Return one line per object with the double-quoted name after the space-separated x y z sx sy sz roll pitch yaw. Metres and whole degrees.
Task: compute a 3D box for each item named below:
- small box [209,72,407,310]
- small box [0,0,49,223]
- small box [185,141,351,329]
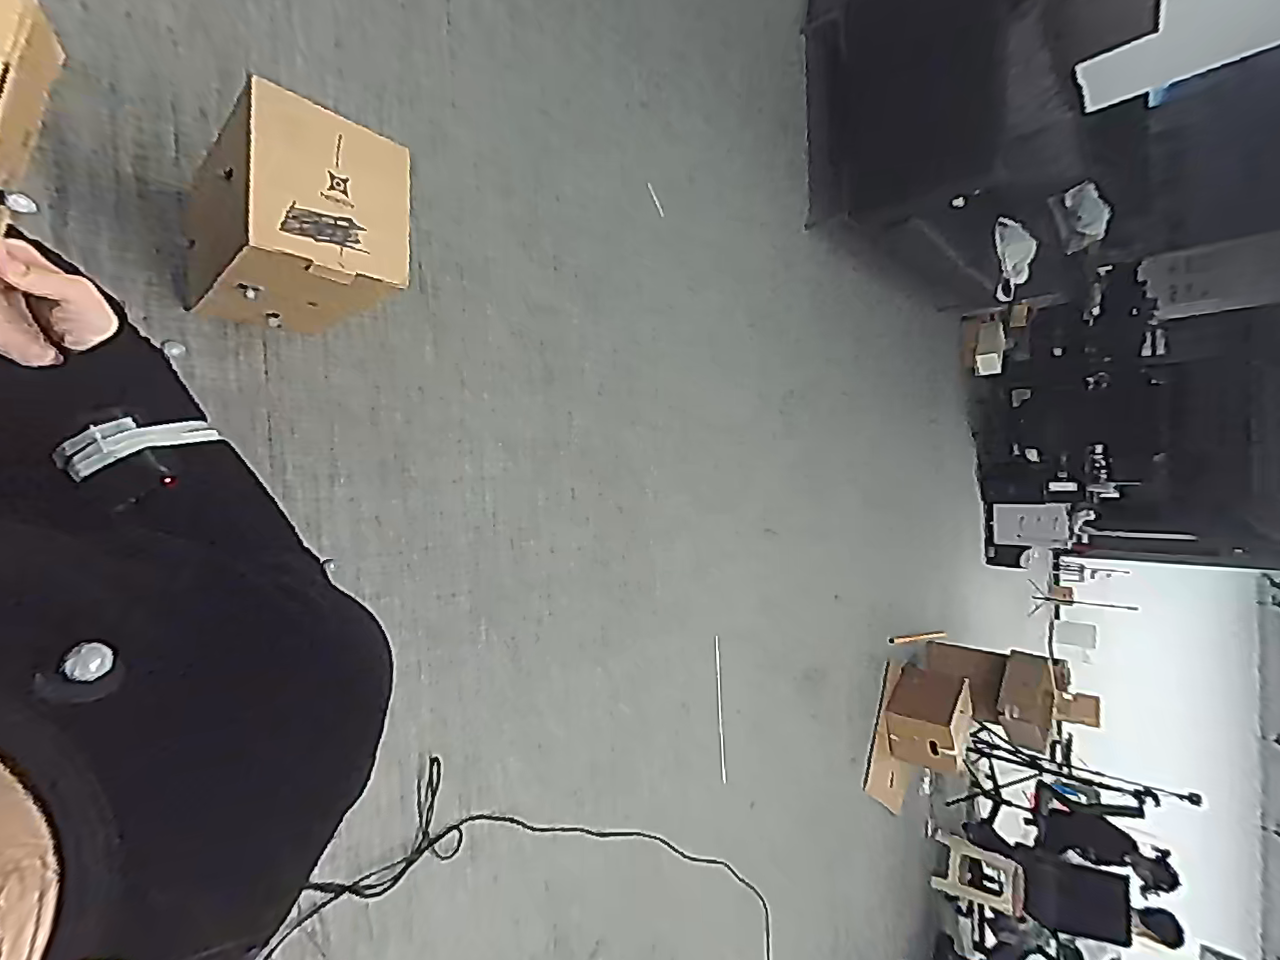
-0.400 -0.321 0.653 0.168 0.176 0.179 1 88 -48 "small box"
-0.401 -0.183 0.227 0.179 0.176 0.168 19 99 -49 "small box"
-0.522 -0.324 0.764 0.168 0.176 0.179 -1 90 -49 "small box"
